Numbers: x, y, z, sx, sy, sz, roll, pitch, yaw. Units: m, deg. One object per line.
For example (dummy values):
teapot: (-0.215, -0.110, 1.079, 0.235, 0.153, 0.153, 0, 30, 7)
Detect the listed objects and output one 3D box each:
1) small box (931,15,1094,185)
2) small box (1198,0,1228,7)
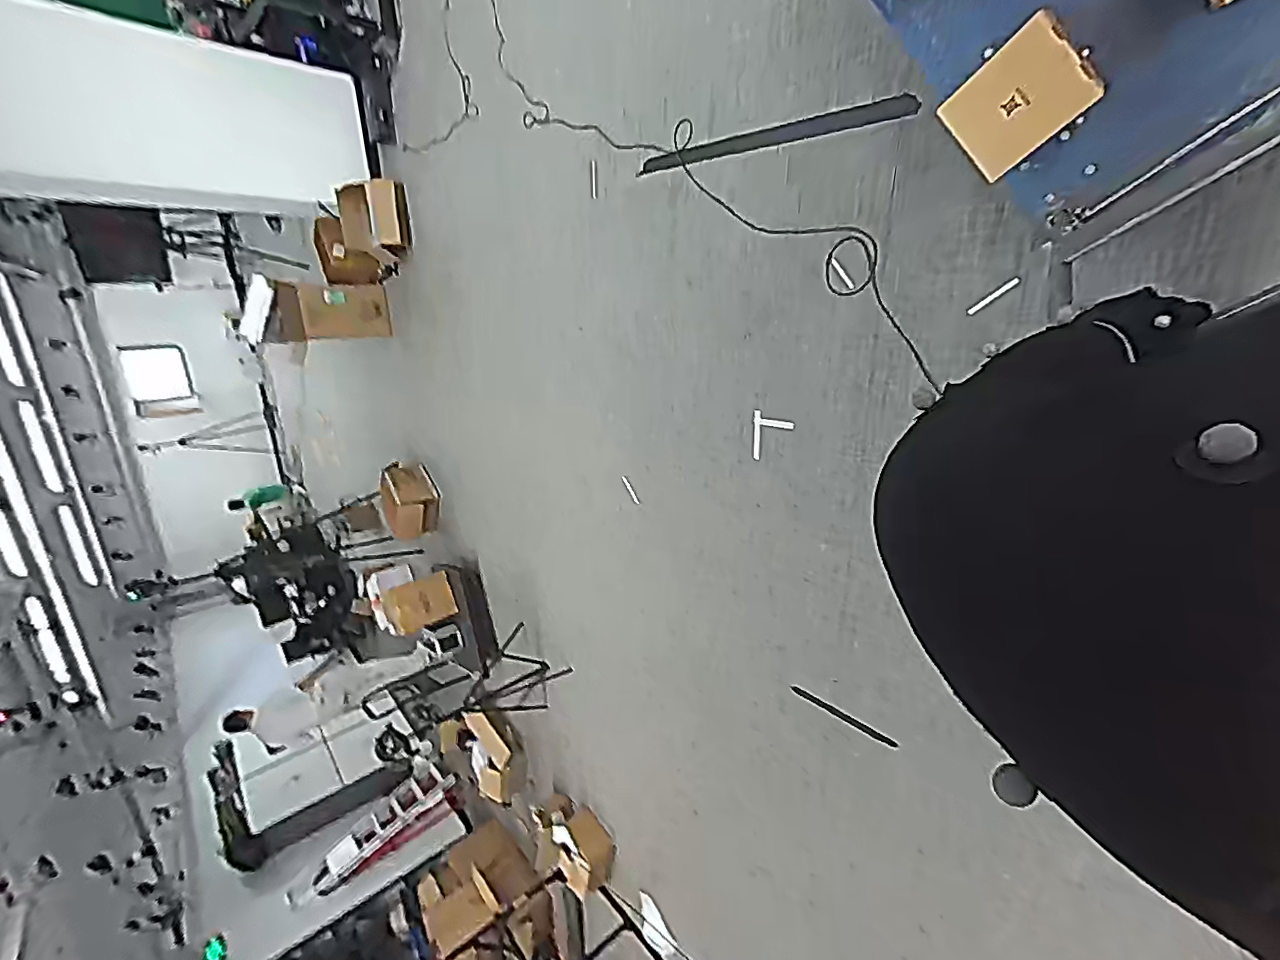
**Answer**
small box: (0.657, -0.661, 0.951, 0.168, 0.176, 0.179, 49, 138, -3)
small box: (0.831, -0.771, 0.709, 0.168, 0.176, 0.179, 53, 139, -8)
